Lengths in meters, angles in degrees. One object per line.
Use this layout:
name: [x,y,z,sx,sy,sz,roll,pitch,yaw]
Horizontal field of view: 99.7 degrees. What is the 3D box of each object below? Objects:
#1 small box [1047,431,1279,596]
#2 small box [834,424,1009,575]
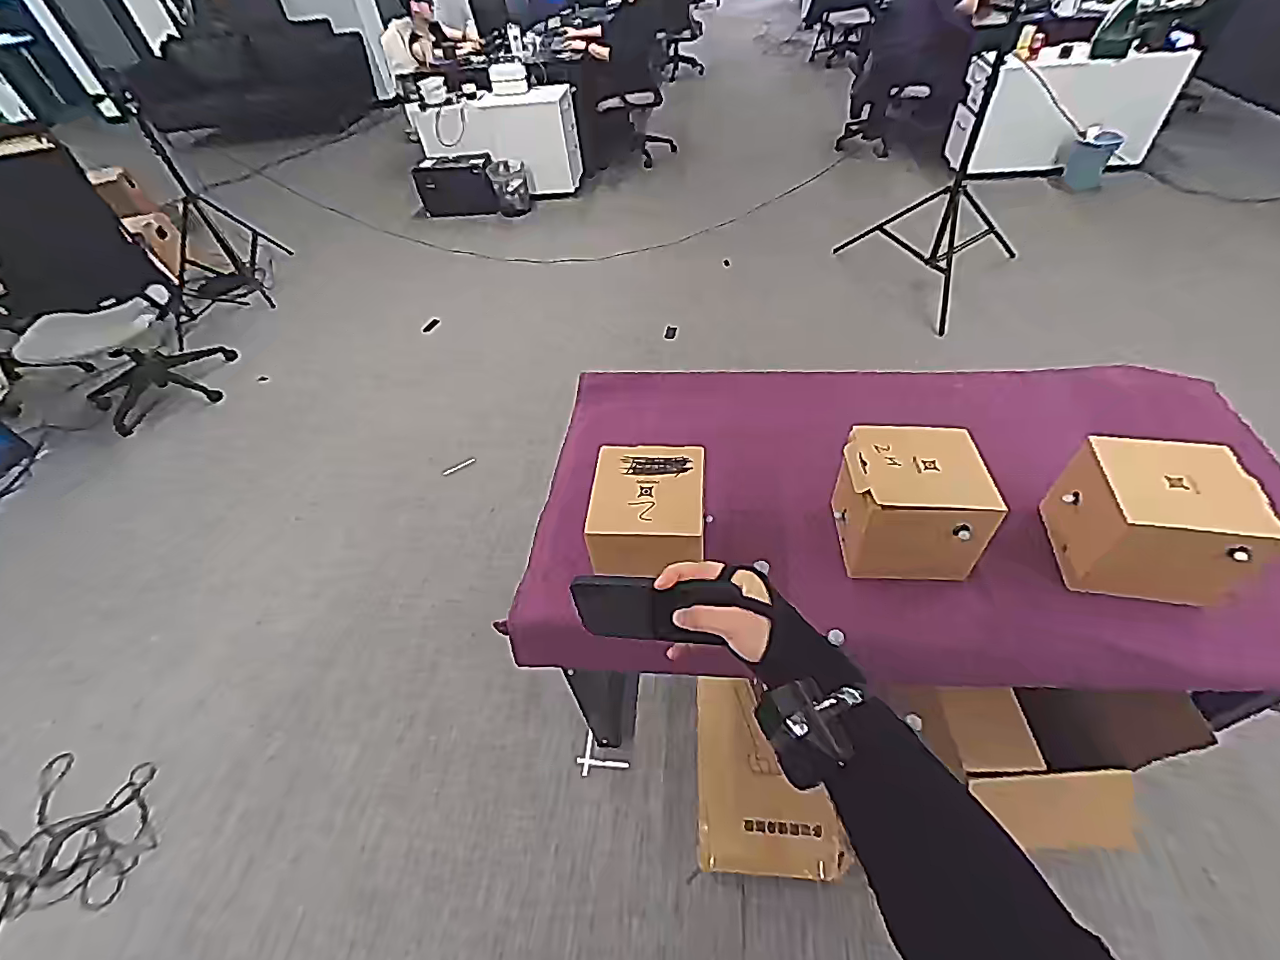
small box: [0.727,0.050,0.777,0.179,0.176,0.168,5,49,11]
small box: [0.413,0.032,0.829,0.179,0.176,0.168,0,46,7]
